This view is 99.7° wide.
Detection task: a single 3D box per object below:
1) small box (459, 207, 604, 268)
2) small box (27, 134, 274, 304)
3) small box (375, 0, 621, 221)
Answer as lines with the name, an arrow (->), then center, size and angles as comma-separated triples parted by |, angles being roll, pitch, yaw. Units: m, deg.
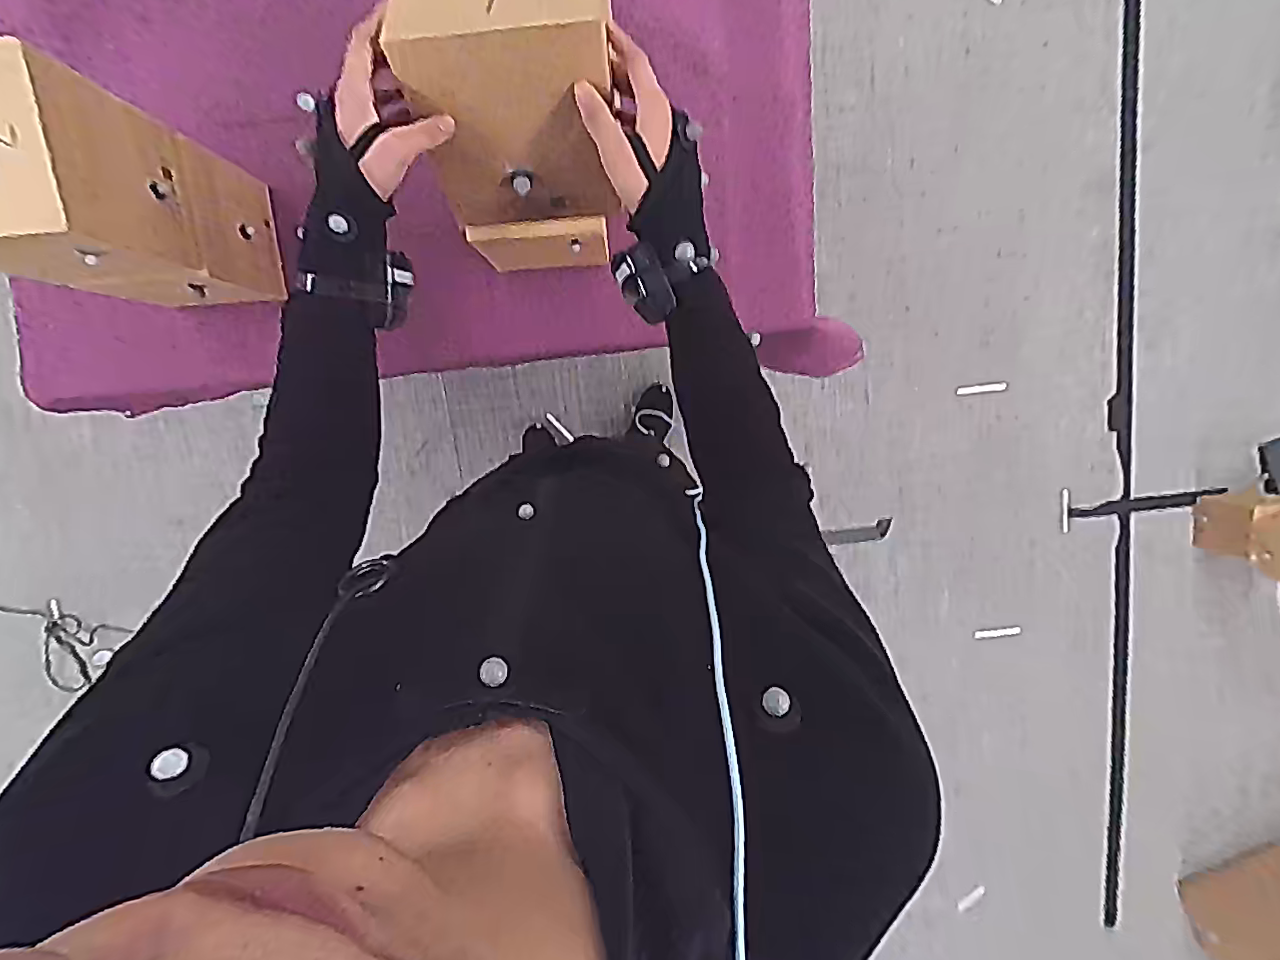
small box -> -0.144, -0.398, 0.741 | 0.179, 0.176, 0.168 | -5, 99, -2
small box -> -0.629, -0.337, 0.726 | 0.179, 0.176, 0.168 | -5, 99, -2
small box -> -0.107, -0.367, 0.487 | 0.168, 0.176, 0.179 | -4, 70, 3
